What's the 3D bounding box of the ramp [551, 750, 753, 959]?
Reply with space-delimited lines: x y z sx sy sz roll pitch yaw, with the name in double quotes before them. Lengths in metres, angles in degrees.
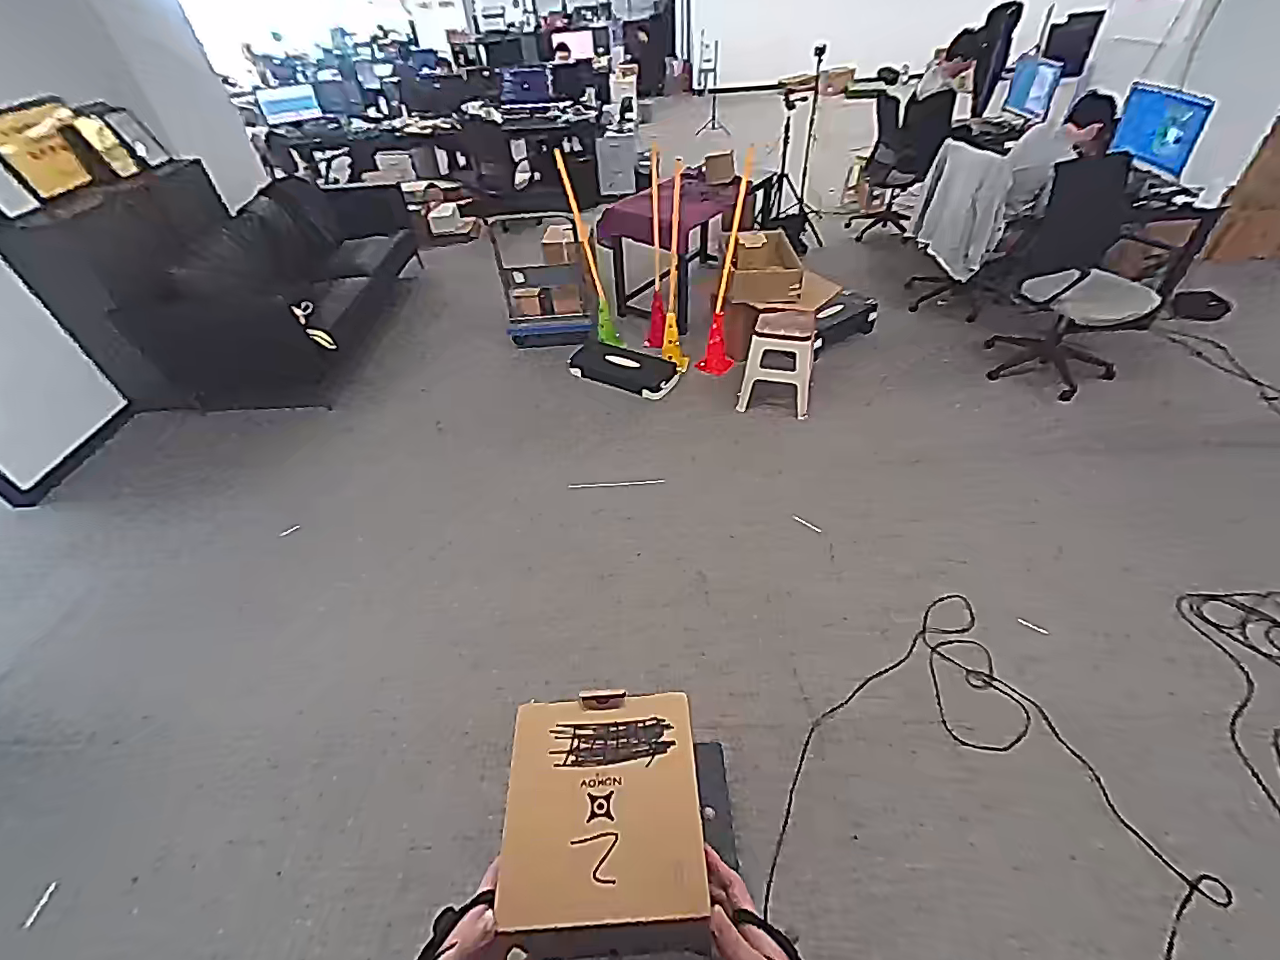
"ramp" 0.026 1.145 1.314 0.509 0.206 0.991 -5 42 1
